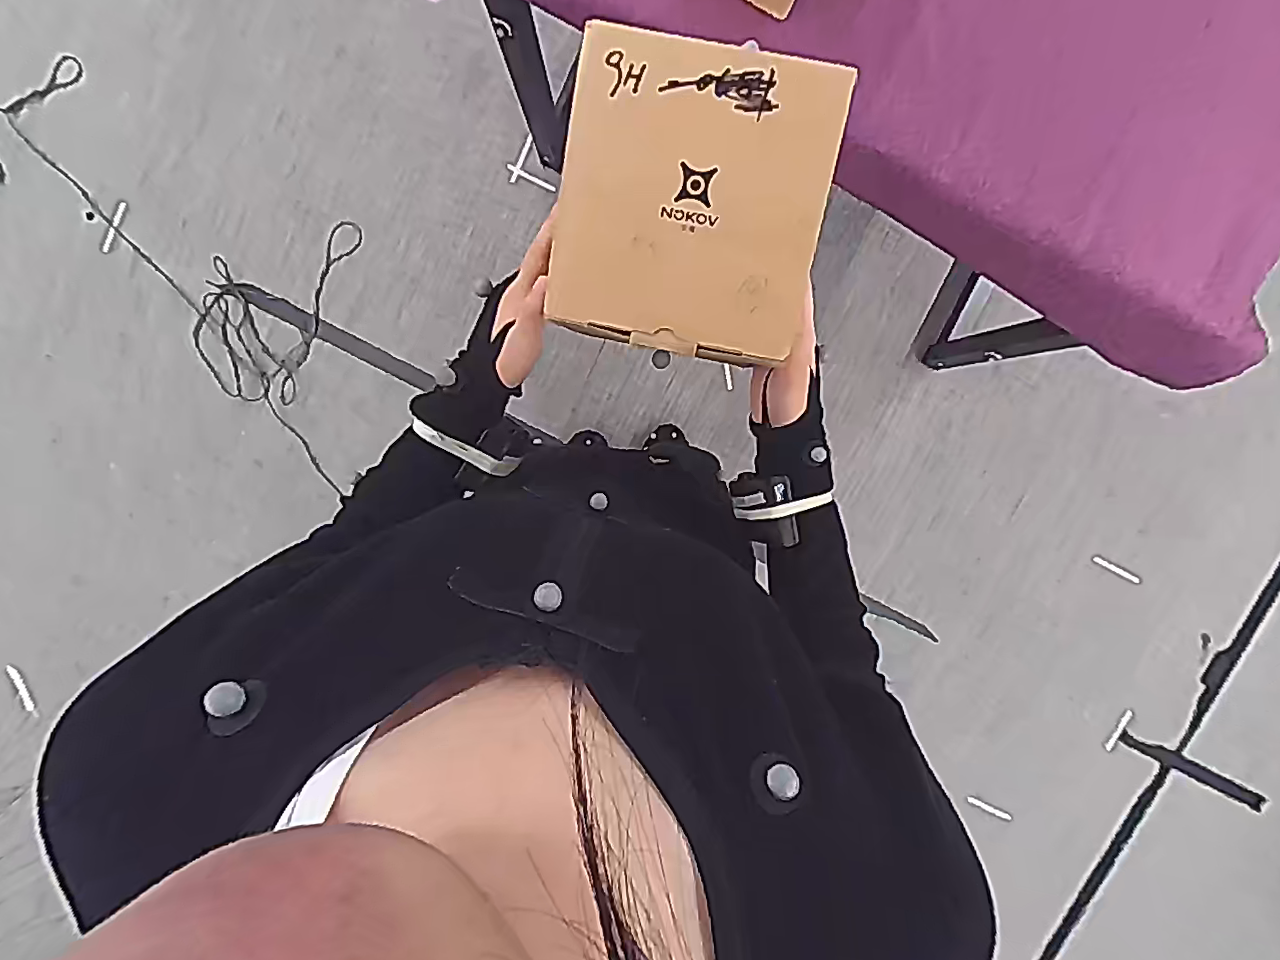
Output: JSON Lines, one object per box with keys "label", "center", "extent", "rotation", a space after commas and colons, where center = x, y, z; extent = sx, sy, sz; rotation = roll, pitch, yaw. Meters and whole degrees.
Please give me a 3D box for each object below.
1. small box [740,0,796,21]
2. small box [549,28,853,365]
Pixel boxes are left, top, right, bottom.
{"label": "small box", "center": [0.153, -0.692, 0.615], "extent": [0.168, 0.176, 0.179], "rotation": [27, 94, -4]}
{"label": "small box", "center": [0.038, -0.192, 0.422], "extent": [0.168, 0.176, 0.179], "rotation": [11, 102, 1]}
